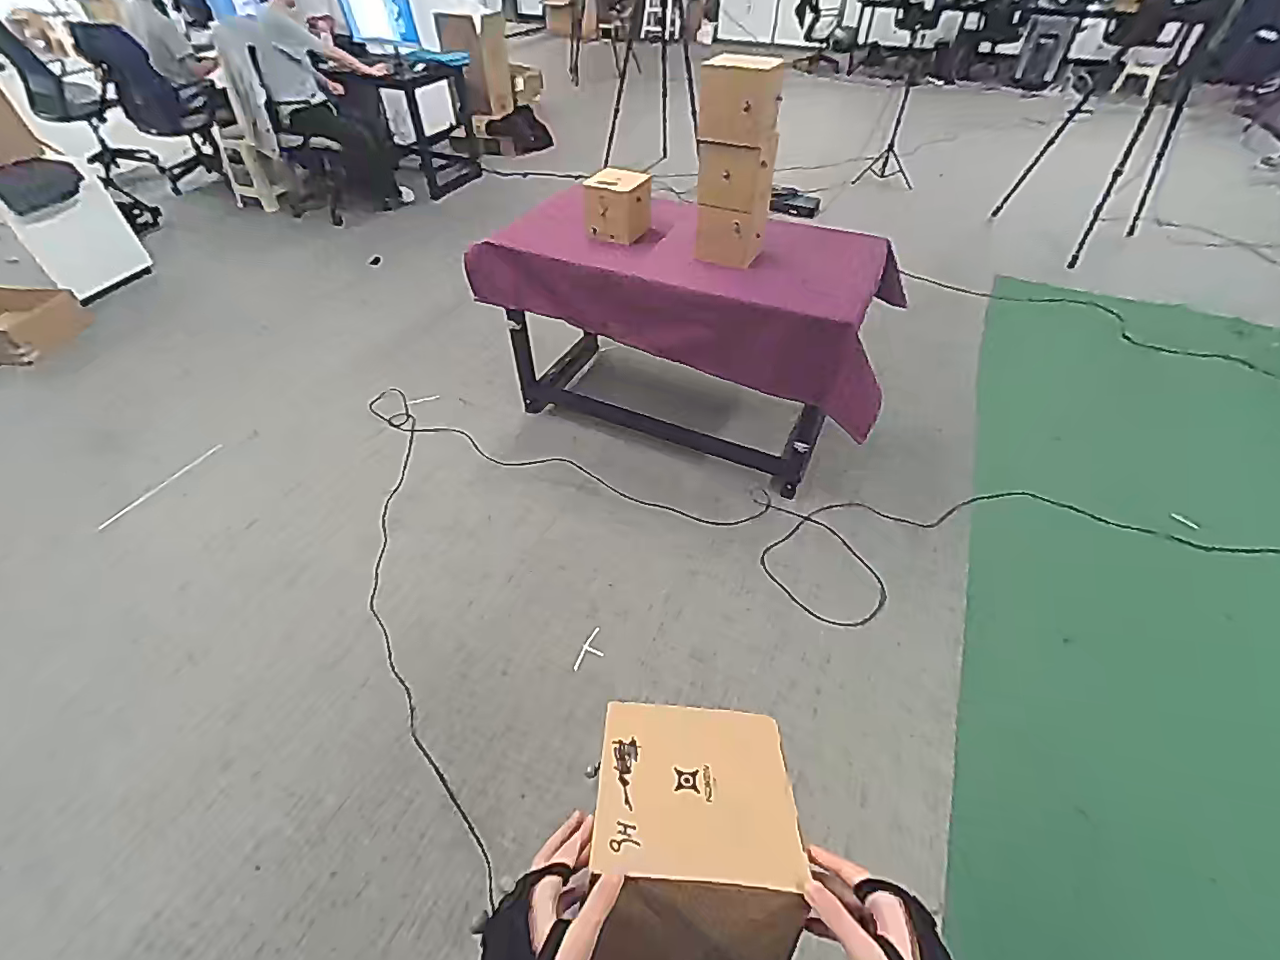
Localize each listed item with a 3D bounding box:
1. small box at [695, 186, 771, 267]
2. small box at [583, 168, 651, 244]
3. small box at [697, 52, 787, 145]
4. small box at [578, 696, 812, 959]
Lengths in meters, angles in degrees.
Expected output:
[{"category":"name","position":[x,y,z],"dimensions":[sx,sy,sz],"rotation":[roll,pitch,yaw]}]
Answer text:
[{"category":"small box","position":[0.282,-0.777,1.662],"dimensions":[0.179,0.176,0.168],"rotation":[21,50,18]},{"category":"small box","position":[-0.070,-0.902,1.783],"dimensions":[0.168,0.176,0.179],"rotation":[20,49,17]},{"category":"small box","position":[0.264,-0.999,1.420],"dimensions":[0.179,0.176,0.168],"rotation":[20,49,19]},{"category":"small box","position":[0.042,0.339,0.515],"dimensions":[0.179,0.176,0.168],"rotation":[6,24,0]}]
